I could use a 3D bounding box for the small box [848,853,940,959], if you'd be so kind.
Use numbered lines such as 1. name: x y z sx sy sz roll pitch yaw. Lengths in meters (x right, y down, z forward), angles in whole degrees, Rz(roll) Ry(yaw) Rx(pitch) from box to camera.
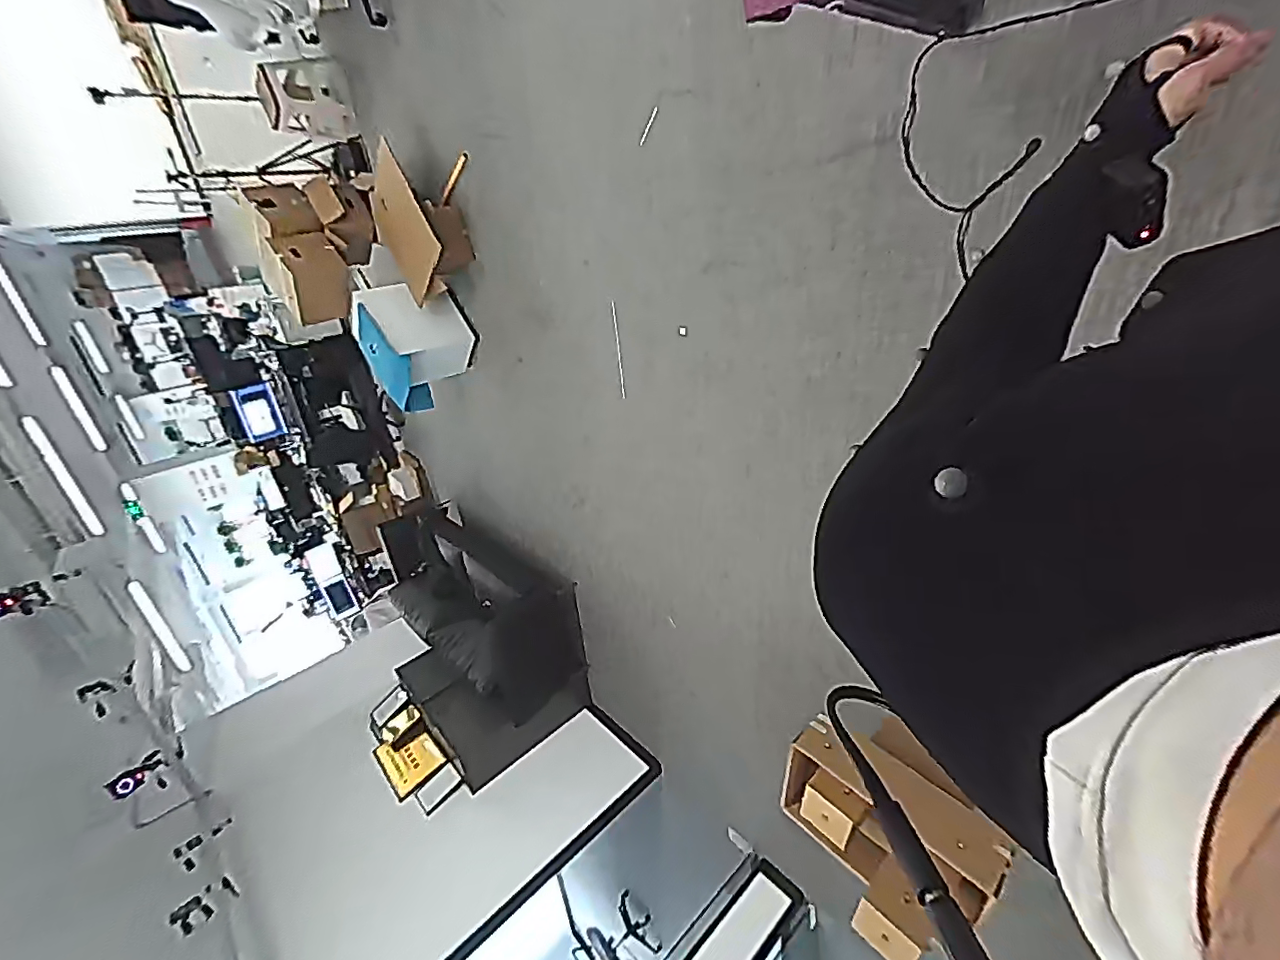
1. small box: 0.722 1.215 1.531 0.168 0.176 0.179 29 132 40

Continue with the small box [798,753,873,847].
1. small box: 0.656 1.061 1.806 0.168 0.176 0.179 28 131 40

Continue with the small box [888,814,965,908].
1. small box: 0.845 1.164 1.628 0.168 0.176 0.179 29 133 38
